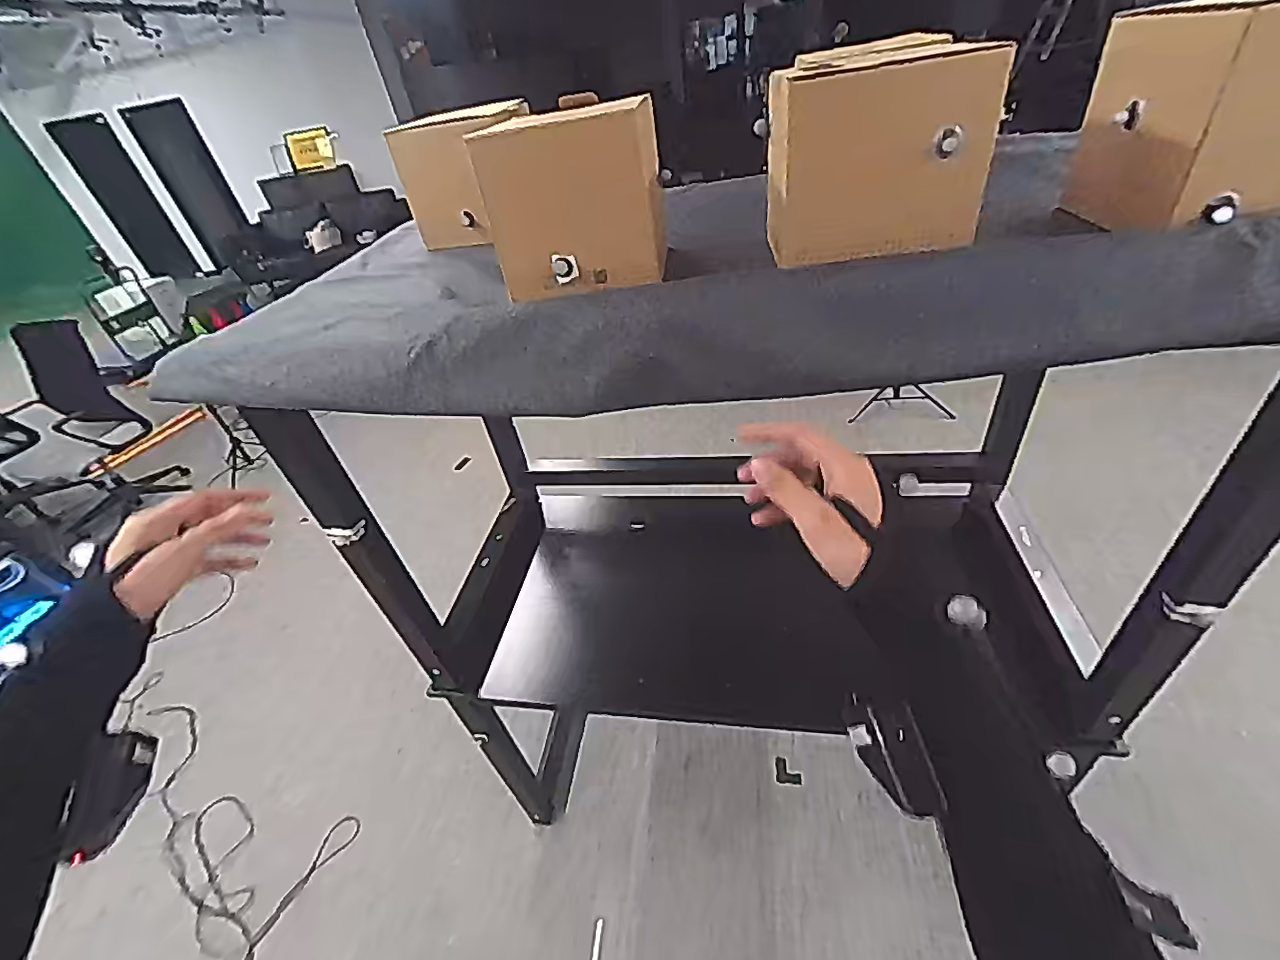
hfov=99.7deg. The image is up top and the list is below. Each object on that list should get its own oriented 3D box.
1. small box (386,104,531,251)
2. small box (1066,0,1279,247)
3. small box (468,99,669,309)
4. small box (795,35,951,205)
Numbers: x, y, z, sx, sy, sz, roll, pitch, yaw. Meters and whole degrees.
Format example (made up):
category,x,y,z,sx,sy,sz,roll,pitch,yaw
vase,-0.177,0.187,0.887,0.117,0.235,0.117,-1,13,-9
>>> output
category,x,y,z,sx,sy,sz,roll,pitch,yaw
small box,-0.259,-0.481,0.865,0.179,0.176,0.168,-1,39,10
small box,0.523,-0.312,0.470,0.168,0.176,0.179,-3,37,10
small box,-0.061,-0.303,0.596,0.168,0.176,0.179,-4,37,9
small box,0.308,-0.495,0.755,0.168,0.176,0.179,-2,39,12
